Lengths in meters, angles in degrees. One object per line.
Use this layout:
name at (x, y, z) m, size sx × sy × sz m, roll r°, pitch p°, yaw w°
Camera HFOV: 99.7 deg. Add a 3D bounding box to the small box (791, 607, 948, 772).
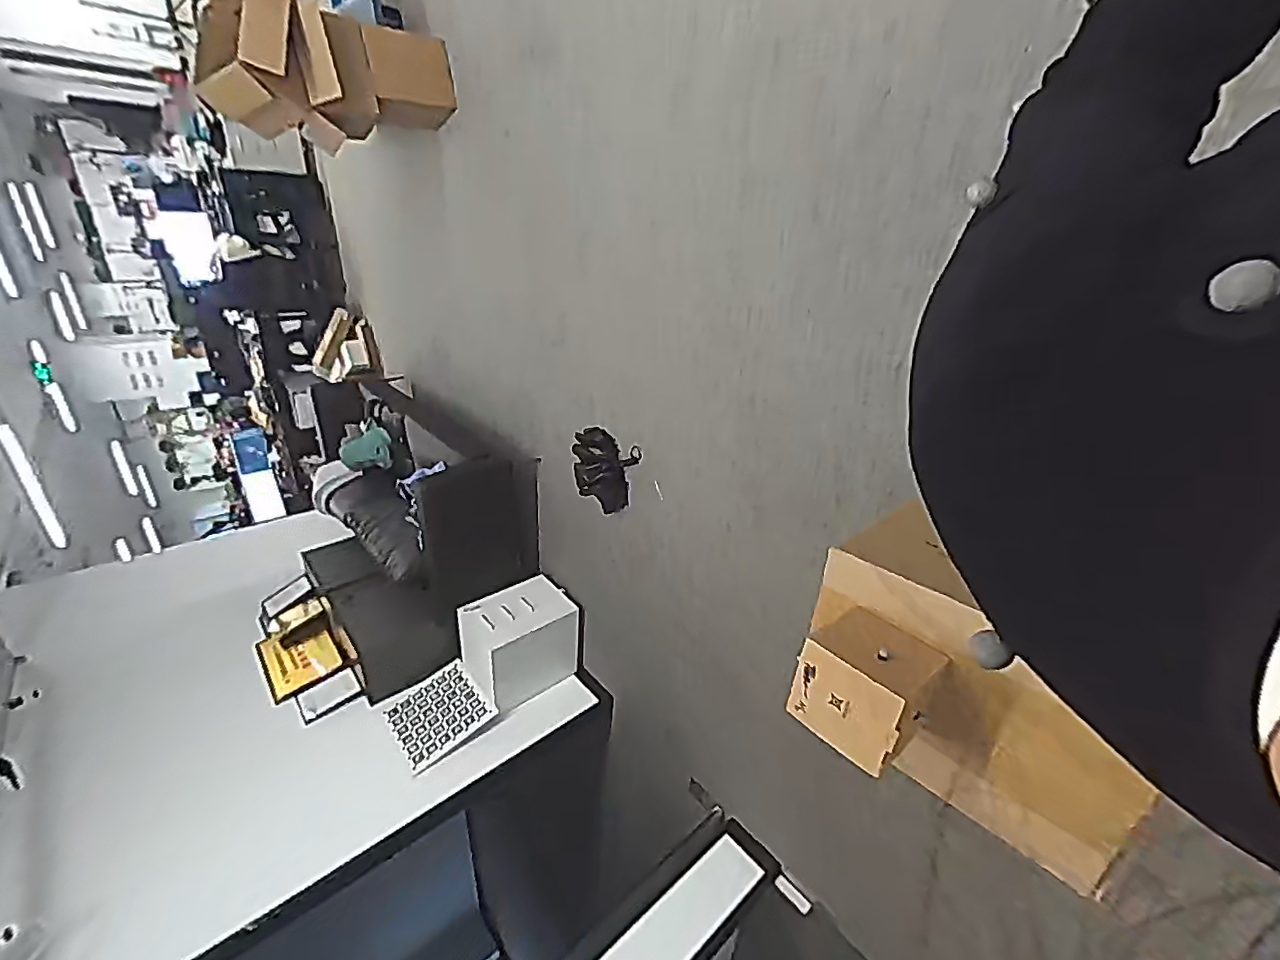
small box at (0.394, 0.344, 0.928) m, size 0.179 × 0.176 × 0.168 m, roll 28°, pitch 120°, yaw 41°
